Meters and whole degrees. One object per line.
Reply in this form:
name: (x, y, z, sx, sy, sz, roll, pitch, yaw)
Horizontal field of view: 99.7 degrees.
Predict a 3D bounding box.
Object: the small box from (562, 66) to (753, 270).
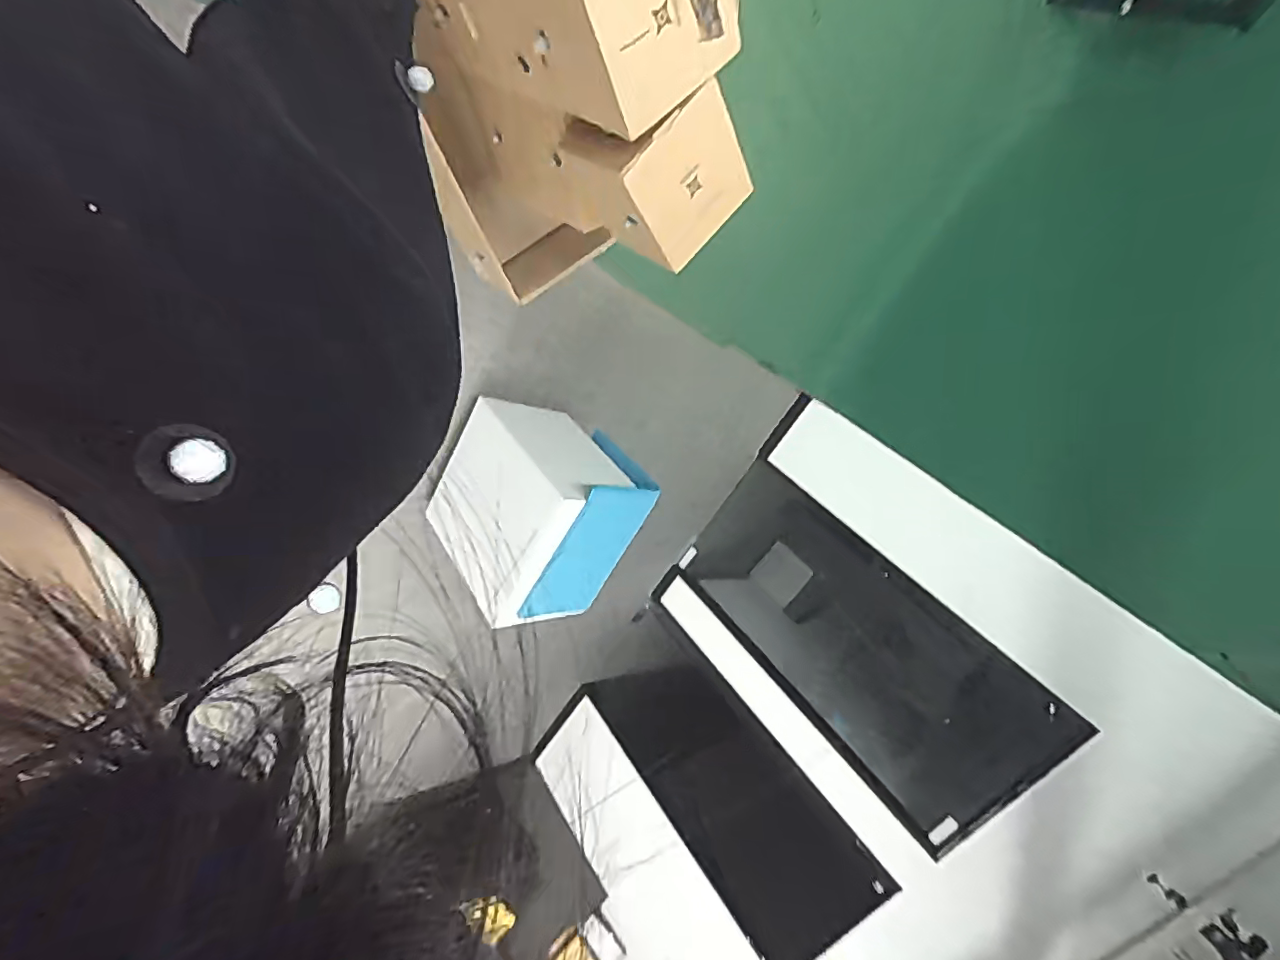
small box: (0.023, -0.436, 0.754, 0.168, 0.176, 0.179, -46, 145, 1)
